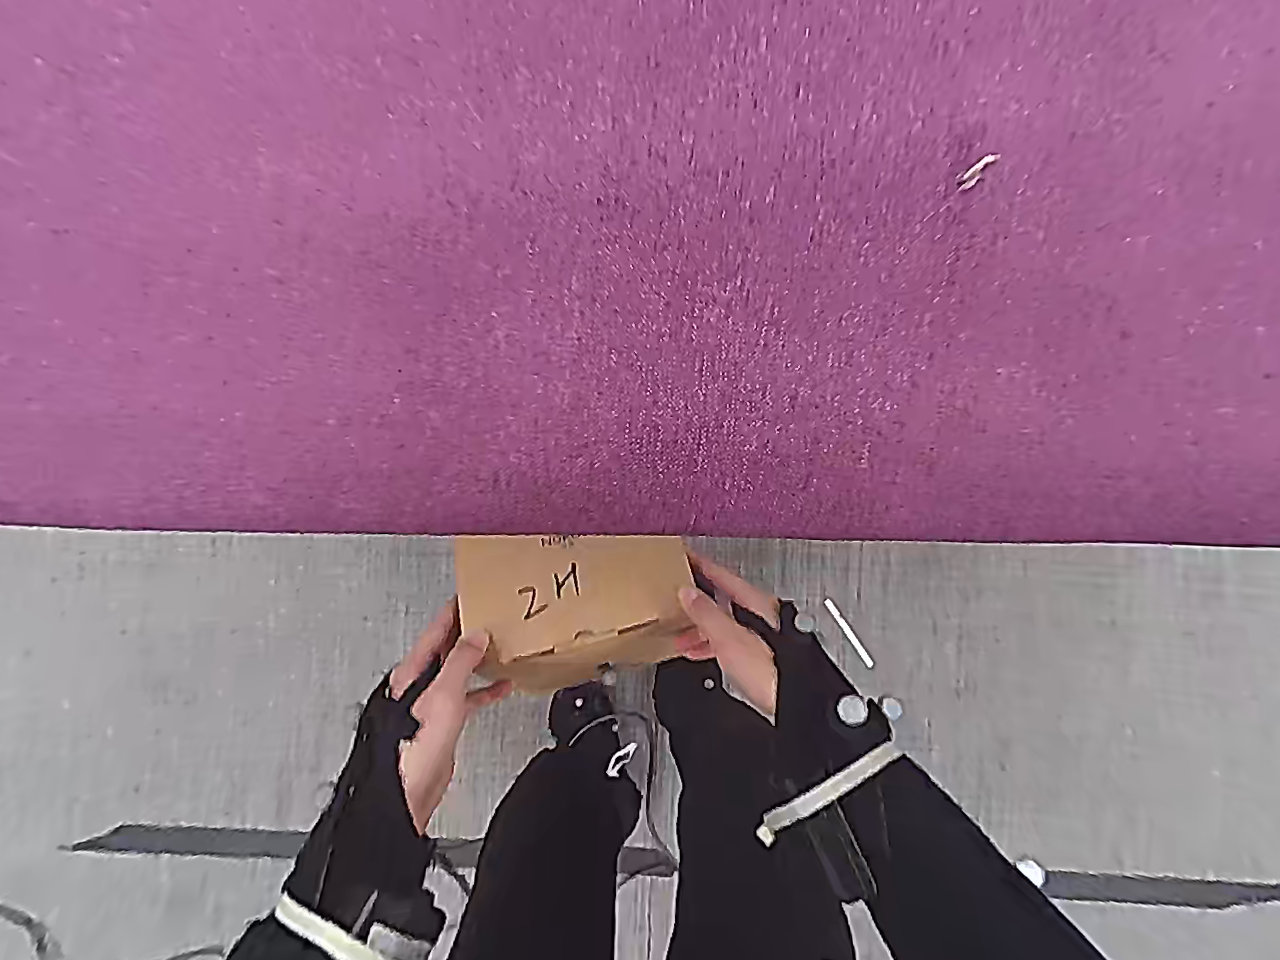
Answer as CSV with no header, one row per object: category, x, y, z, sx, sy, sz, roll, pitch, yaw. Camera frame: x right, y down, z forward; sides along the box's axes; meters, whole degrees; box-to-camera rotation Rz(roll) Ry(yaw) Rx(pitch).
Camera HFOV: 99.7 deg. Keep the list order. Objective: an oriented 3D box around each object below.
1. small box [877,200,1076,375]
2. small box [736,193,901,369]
small box,0.432,-0.244,0.721,0.168,0.176,0.179,2,92,1
small box,0.224,-0.253,0.721,0.168,0.176,0.179,1,93,0
